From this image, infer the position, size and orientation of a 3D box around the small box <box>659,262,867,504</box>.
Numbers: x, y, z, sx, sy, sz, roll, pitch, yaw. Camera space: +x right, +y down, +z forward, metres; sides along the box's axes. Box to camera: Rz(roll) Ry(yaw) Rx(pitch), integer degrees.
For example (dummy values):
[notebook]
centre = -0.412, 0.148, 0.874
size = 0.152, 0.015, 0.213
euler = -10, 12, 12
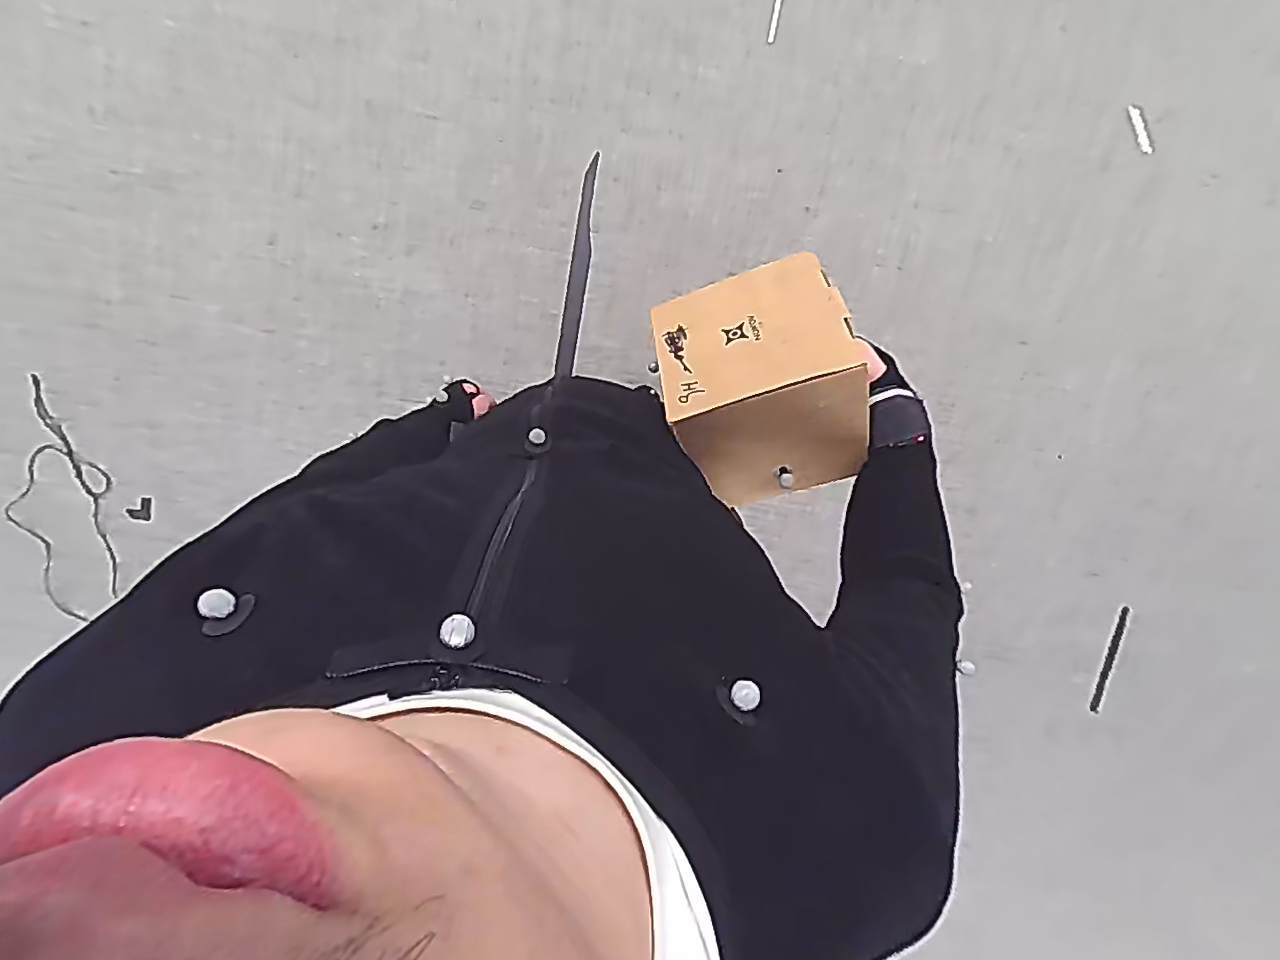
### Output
[small box]
centre = 0.133, -0.097, 0.592
size = 0.179, 0.168, 0.176
euler = -16, 142, 12
